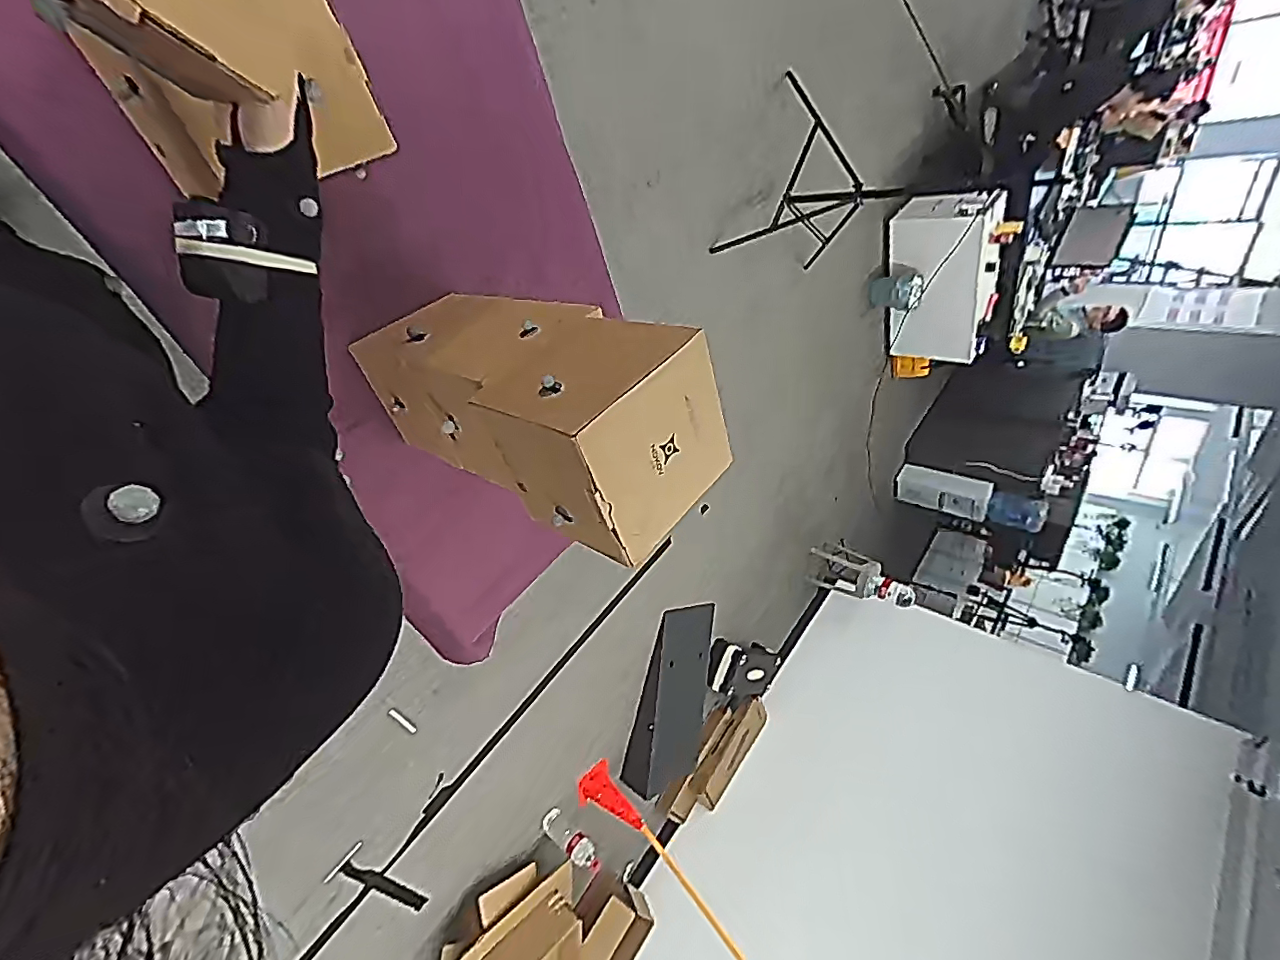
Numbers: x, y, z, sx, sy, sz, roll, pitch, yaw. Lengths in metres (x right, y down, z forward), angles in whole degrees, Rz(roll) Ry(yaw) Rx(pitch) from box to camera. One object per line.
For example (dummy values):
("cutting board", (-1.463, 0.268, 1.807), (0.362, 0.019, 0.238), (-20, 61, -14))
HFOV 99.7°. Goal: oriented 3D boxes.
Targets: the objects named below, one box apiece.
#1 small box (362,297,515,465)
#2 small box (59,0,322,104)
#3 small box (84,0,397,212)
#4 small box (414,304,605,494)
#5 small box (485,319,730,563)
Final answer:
("small box", (-0.264, -0.149, 0.772), (0.179, 0.176, 0.168), (-43, 134, -31))
("small box", (-0.269, -0.337, 0.279), (0.168, 0.176, 0.179), (15, 103, -56))
("small box", (-0.389, -0.381, 0.533), (0.179, 0.176, 0.168), (-45, 135, -30))
("small box", (-0.140, -0.107, 0.673), (0.179, 0.176, 0.168), (-42, 133, -30))
("small box", (-0.034, -0.051, 0.561), (0.179, 0.176, 0.168), (-46, 136, -28))
